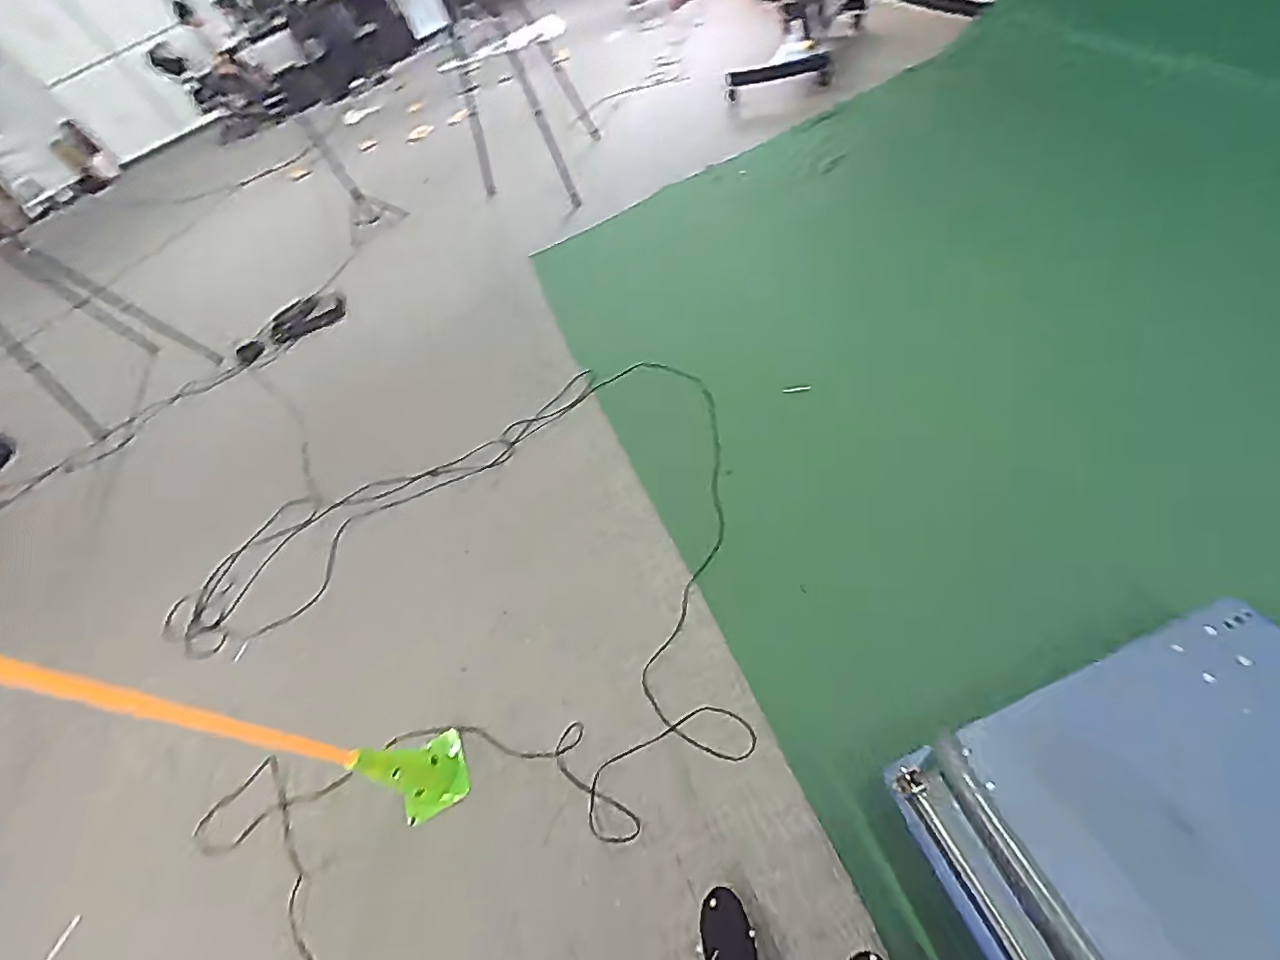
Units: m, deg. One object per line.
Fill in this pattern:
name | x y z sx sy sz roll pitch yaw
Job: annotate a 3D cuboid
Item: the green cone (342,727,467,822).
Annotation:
green cone | -0.662 0.772 1.469 0.200 0.368 0.202 -30 51 -2
